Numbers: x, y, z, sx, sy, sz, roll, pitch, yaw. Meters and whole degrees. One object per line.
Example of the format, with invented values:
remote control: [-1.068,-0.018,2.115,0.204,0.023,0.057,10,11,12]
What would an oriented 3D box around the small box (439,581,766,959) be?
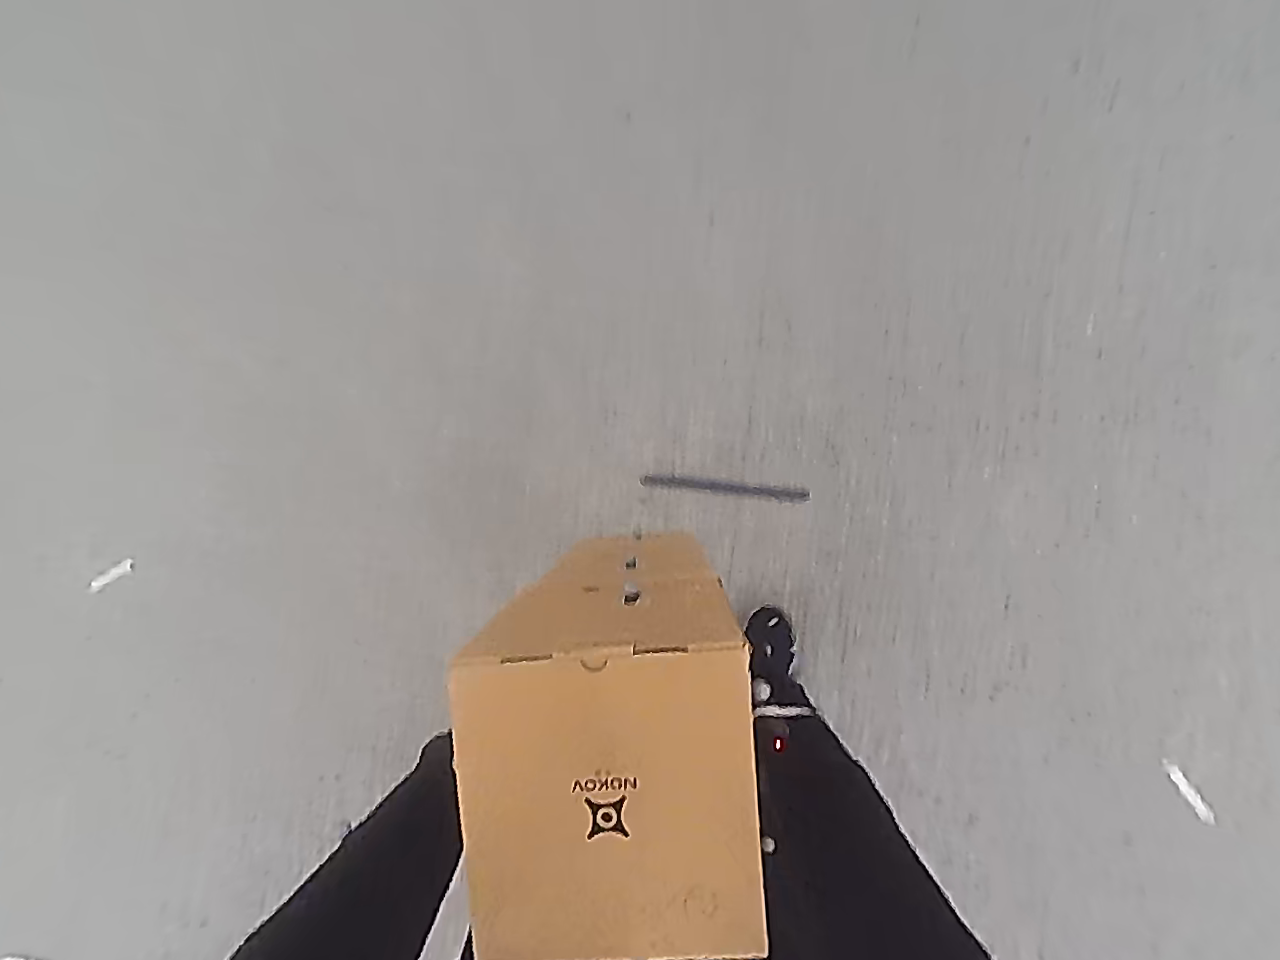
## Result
small box: [-0.015,0.178,0.367,0.168,0.176,0.179,-5,91,3]

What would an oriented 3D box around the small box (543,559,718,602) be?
small box: [-0.008,0.177,0.529,0.168,0.176,0.179,-5,92,3]
